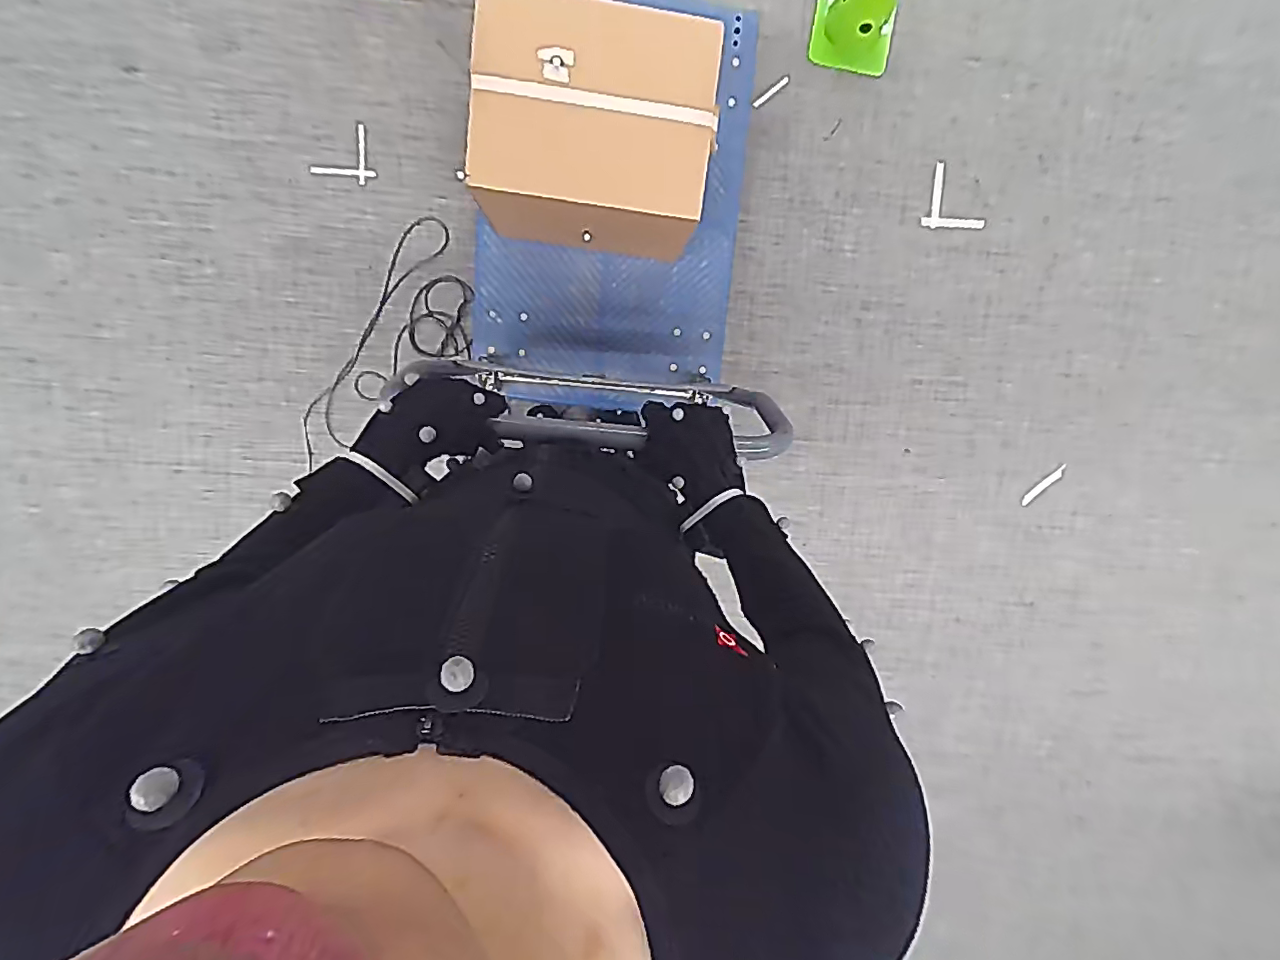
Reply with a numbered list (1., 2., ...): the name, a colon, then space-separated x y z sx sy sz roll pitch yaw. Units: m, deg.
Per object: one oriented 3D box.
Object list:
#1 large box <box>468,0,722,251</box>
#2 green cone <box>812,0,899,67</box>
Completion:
1. large box: -0.082 -0.656 1.042 0.408 0.320 0.320 7 99 -4
2. green cone: 0.545 -1.108 1.156 0.202 0.368 0.200 7 99 -6
